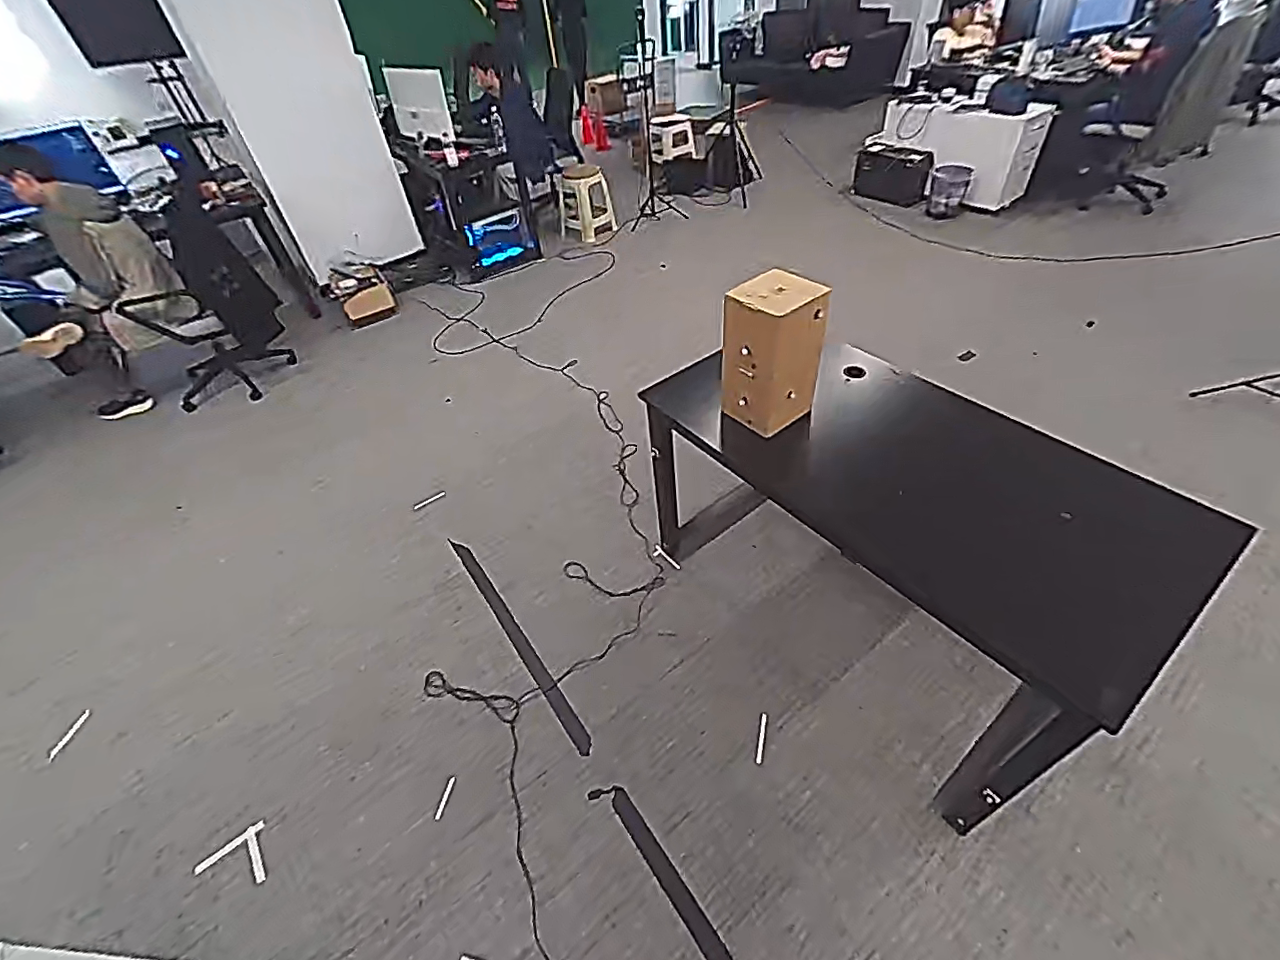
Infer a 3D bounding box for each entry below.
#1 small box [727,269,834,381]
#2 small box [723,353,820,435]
[{"bbox_3d":[0.315,-0.358,1.252,0.179,0.176,0.168,-32,49,-23],"label":"small box"},{"bbox_3d":[0.329,-0.241,1.368,0.179,0.176,0.168,-33,50,-23],"label":"small box"}]
